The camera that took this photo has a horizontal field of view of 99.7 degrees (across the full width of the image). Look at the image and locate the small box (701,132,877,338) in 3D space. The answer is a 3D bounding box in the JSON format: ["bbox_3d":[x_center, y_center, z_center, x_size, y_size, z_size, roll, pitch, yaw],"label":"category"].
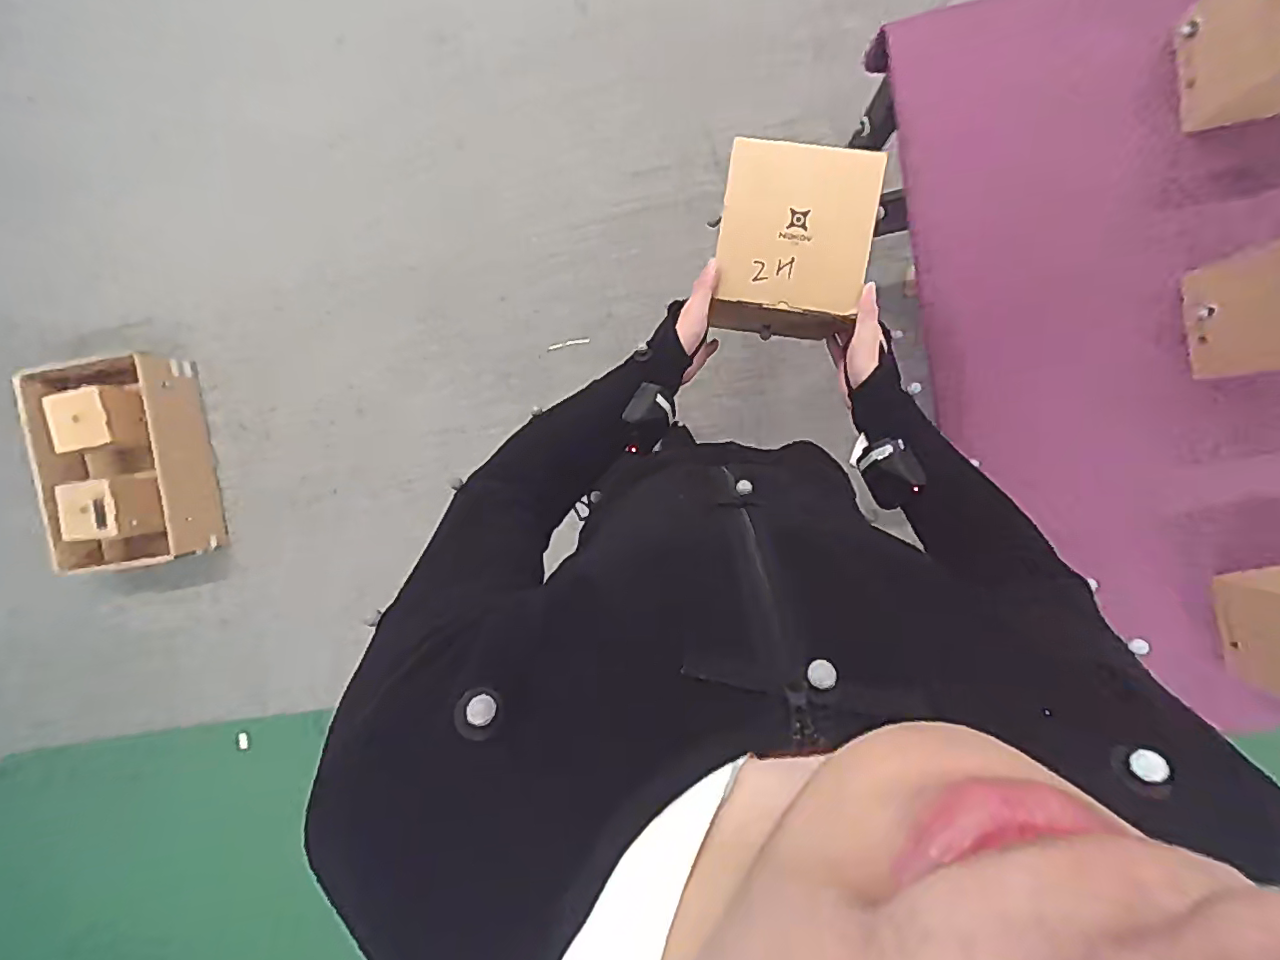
[{"bbox_3d":[0.168,-0.286,0.666,0.168,0.176,0.179,9,96,5],"label":"small box"}]

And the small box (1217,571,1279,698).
[{"bbox_3d":[0.998,0.224,0.766,0.179,0.176,0.168,-11,91,5],"label":"small box"}]

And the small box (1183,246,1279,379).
[{"bbox_3d":[0.923,-0.242,0.746,0.179,0.176,0.168,-10,92,5],"label":"small box"}]

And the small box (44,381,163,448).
[{"bbox_3d":[-1.597,-0.191,1.617,0.179,0.176,0.168,-11,93,4],"label":"small box"}]

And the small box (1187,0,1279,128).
[{"bbox_3d":[0.889,-0.608,0.722,0.179,0.176,0.168,-8,94,6],"label":"small box"}]
